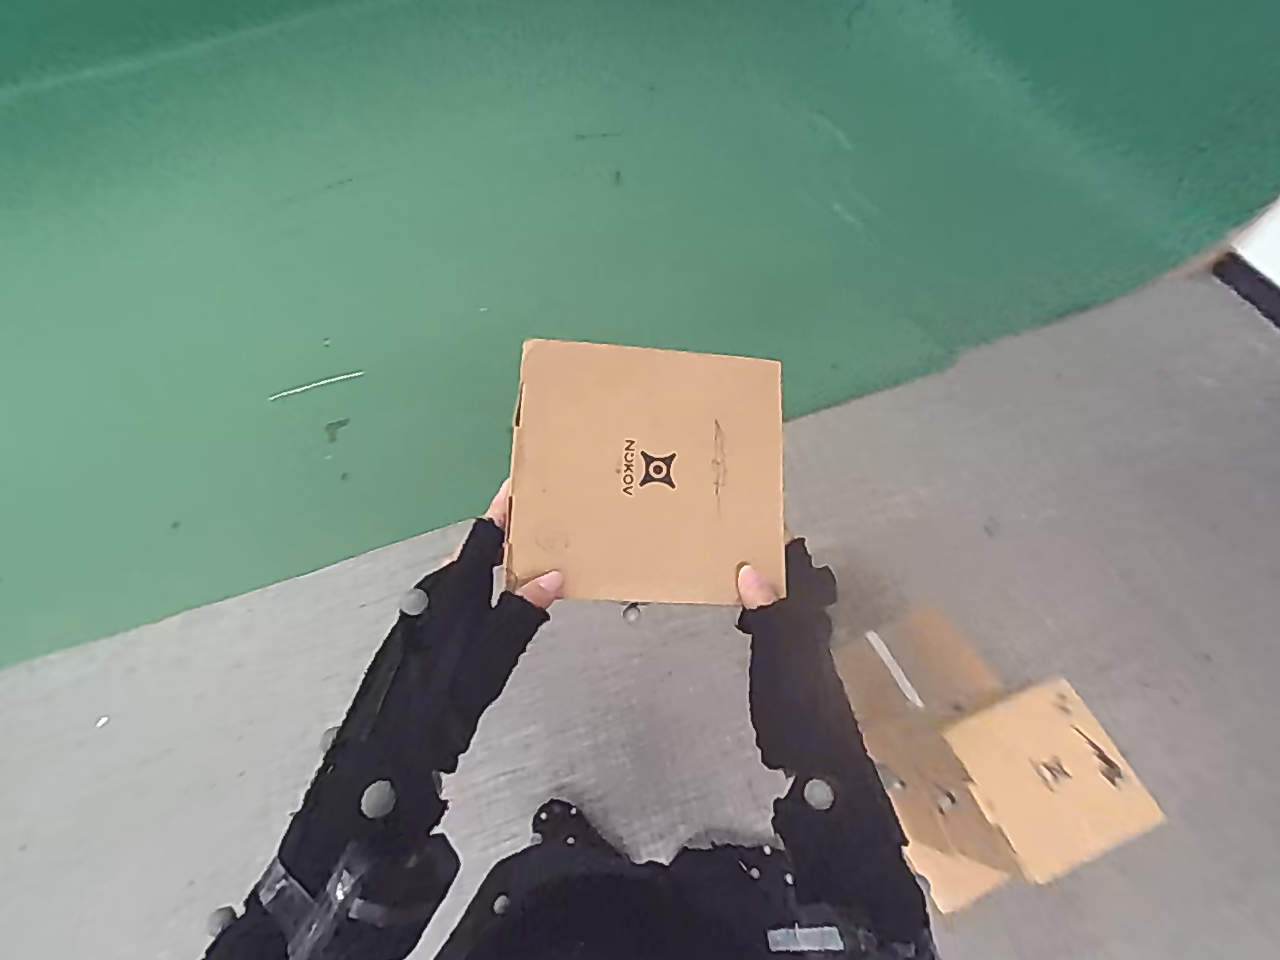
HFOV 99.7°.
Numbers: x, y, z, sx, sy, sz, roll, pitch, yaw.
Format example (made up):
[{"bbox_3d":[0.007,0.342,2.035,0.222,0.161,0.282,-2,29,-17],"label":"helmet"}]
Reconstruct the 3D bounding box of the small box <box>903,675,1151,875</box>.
[{"bbox_3d":[0.474,0.375,0.704,0.179,0.176,0.168,-20,64,-5],"label":"small box"}]

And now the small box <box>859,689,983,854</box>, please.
[{"bbox_3d":[0.477,0.448,0.850,0.168,0.176,0.179,-19,63,-5],"label":"small box"}]
